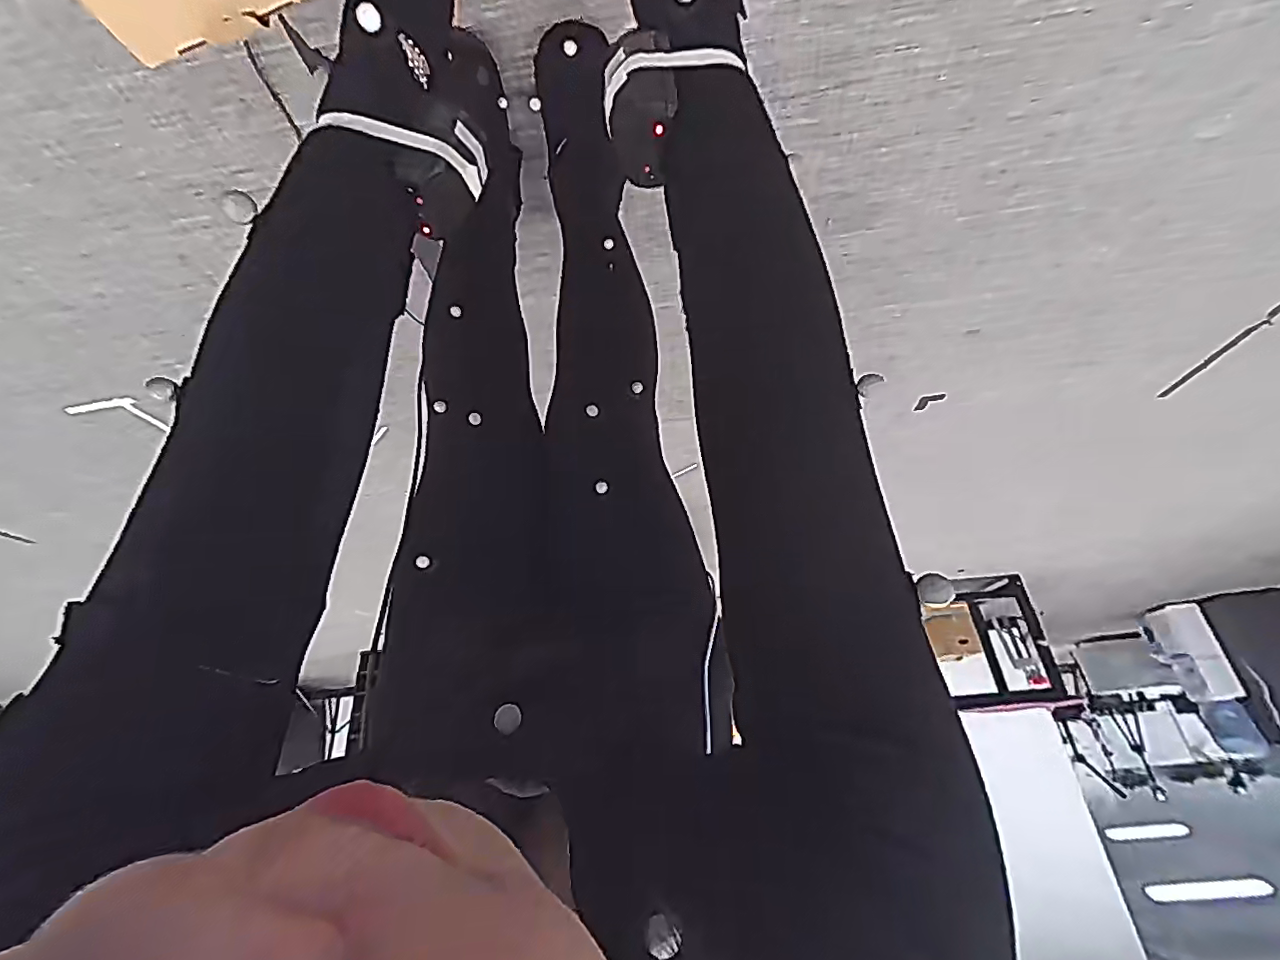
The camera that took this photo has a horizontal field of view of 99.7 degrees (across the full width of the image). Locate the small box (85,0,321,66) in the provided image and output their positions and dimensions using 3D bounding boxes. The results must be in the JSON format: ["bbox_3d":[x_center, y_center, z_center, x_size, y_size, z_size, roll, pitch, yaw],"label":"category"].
[{"bbox_3d":[-0.319,-0.433,0.353,0.168,0.176,0.179,-12,154,11],"label":"small box"}]
